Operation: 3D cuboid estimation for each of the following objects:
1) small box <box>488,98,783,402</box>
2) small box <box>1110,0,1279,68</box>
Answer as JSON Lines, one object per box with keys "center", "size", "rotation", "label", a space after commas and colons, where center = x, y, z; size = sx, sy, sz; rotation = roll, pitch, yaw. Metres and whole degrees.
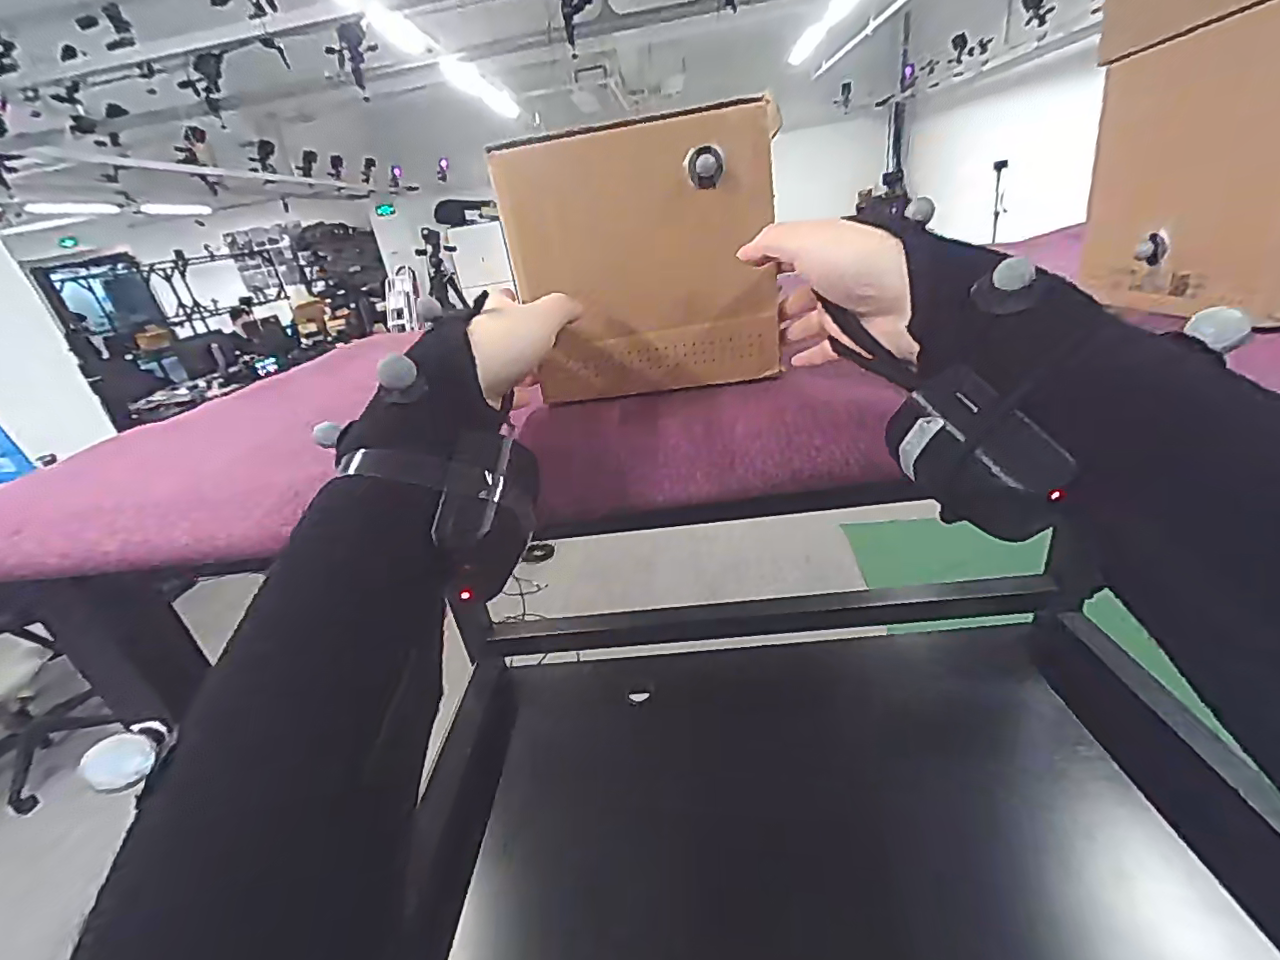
{"center": [0.009, -0.165, 0.422], "size": [0.179, 0.176, 0.168], "rotation": [-5, 24, 7], "label": "small box"}
{"center": [0.395, -0.347, 0.274], "size": [0.168, 0.176, 0.179], "rotation": [-7, 23, 8], "label": "small box"}
